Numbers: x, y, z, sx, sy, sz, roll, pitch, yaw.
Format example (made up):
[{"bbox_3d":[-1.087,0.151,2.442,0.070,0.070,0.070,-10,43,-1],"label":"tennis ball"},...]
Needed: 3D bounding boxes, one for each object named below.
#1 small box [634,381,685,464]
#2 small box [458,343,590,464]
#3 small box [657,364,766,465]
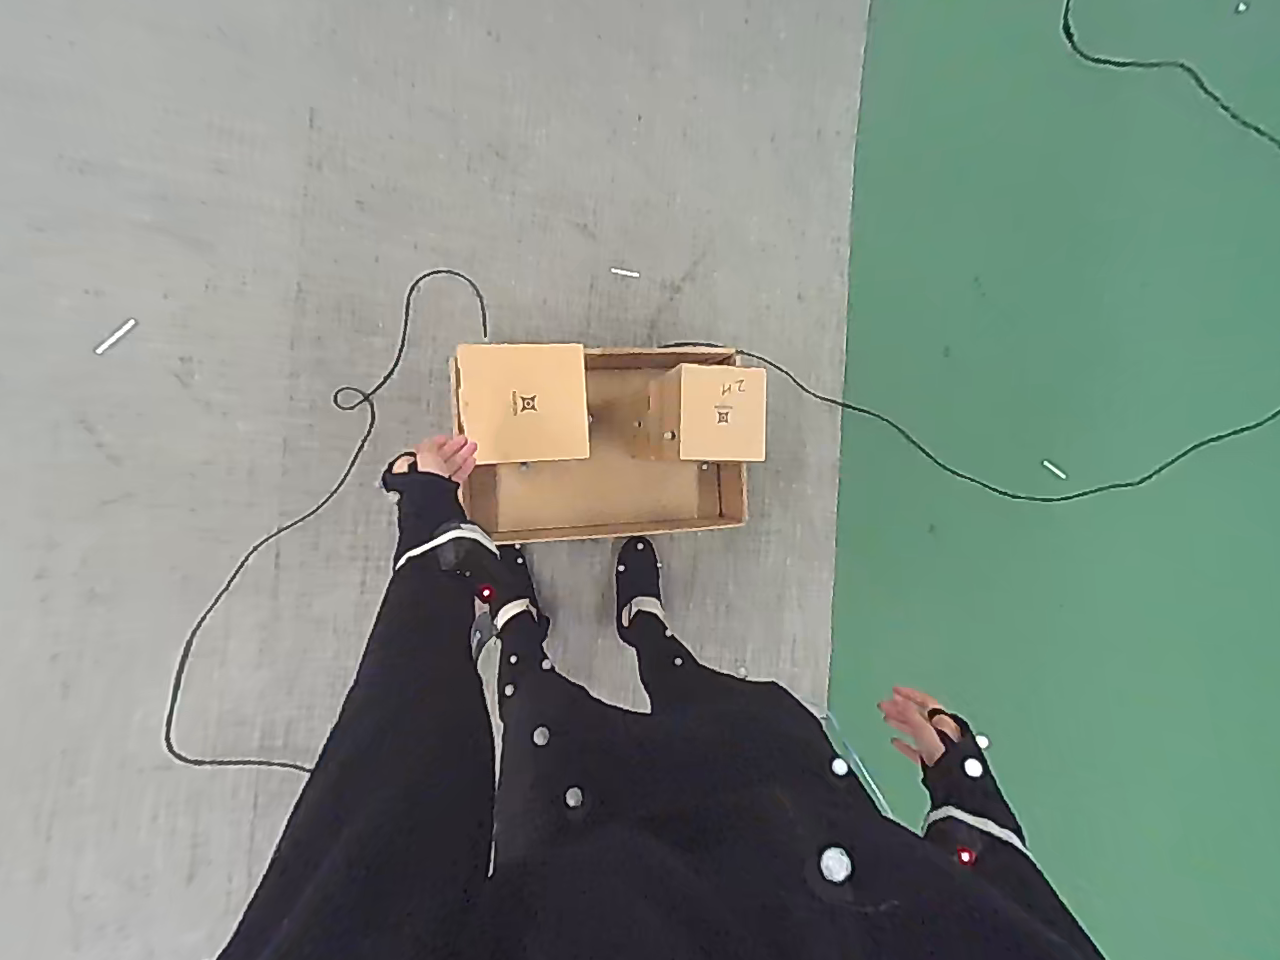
[{"bbox_3d":[0.085,-0.121,1.217,0.179,0.176,0.168,1,90,-11],"label":"small box"},{"bbox_3d":[-0.176,-0.112,0.831,0.179,0.176,0.168,-3,93,-11],"label":"small box"},{"bbox_3d":[0.133,-0.119,1.059,0.168,0.176,0.179,1,89,-13],"label":"small box"}]
